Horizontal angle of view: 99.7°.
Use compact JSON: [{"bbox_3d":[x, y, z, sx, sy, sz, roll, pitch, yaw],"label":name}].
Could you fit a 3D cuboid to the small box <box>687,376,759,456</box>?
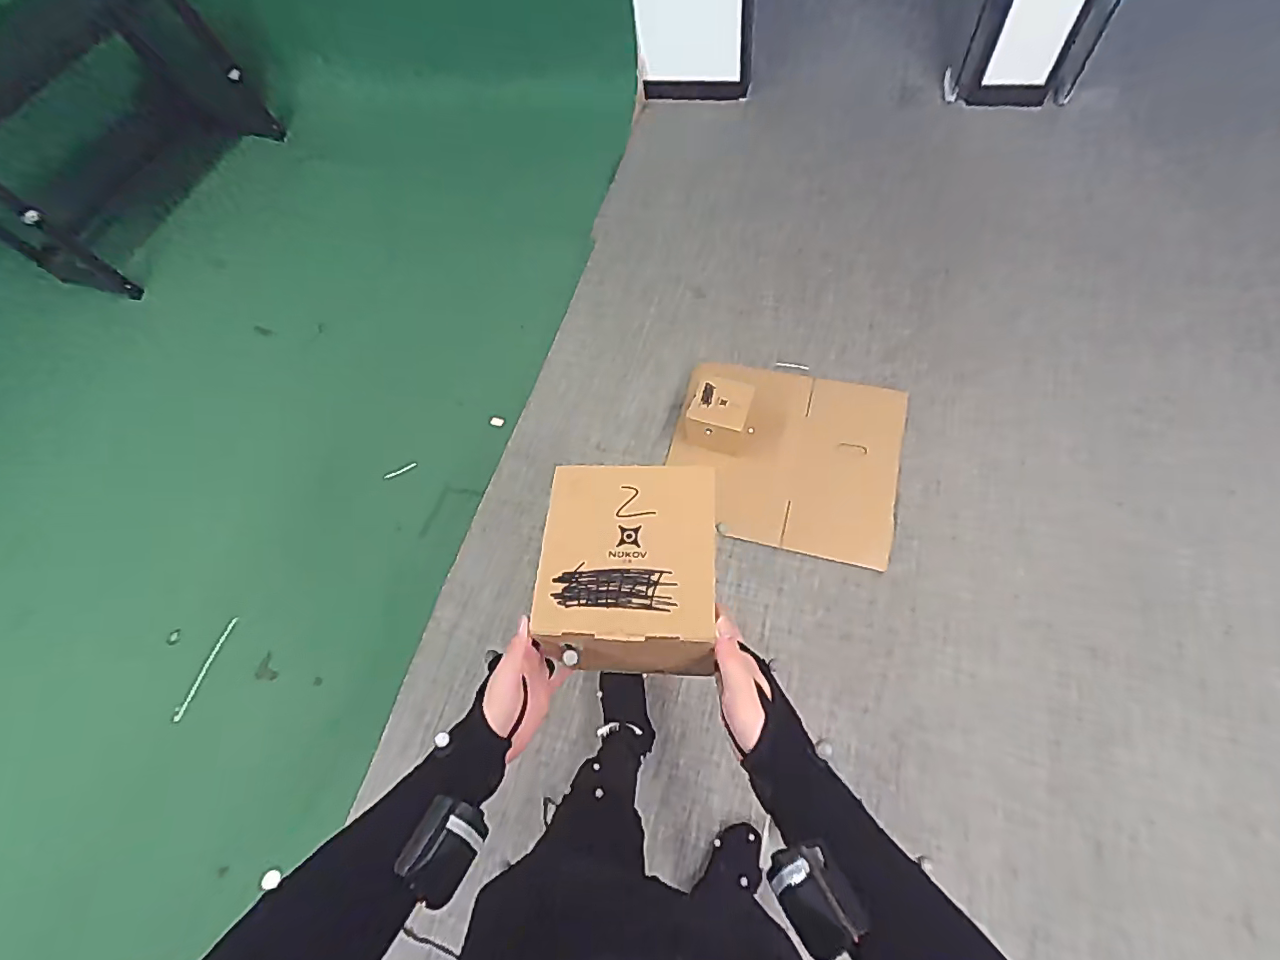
[{"bbox_3d":[0.260,-0.194,1.680,0.179,0.176,0.168,17,69,16],"label":"small box"}]
